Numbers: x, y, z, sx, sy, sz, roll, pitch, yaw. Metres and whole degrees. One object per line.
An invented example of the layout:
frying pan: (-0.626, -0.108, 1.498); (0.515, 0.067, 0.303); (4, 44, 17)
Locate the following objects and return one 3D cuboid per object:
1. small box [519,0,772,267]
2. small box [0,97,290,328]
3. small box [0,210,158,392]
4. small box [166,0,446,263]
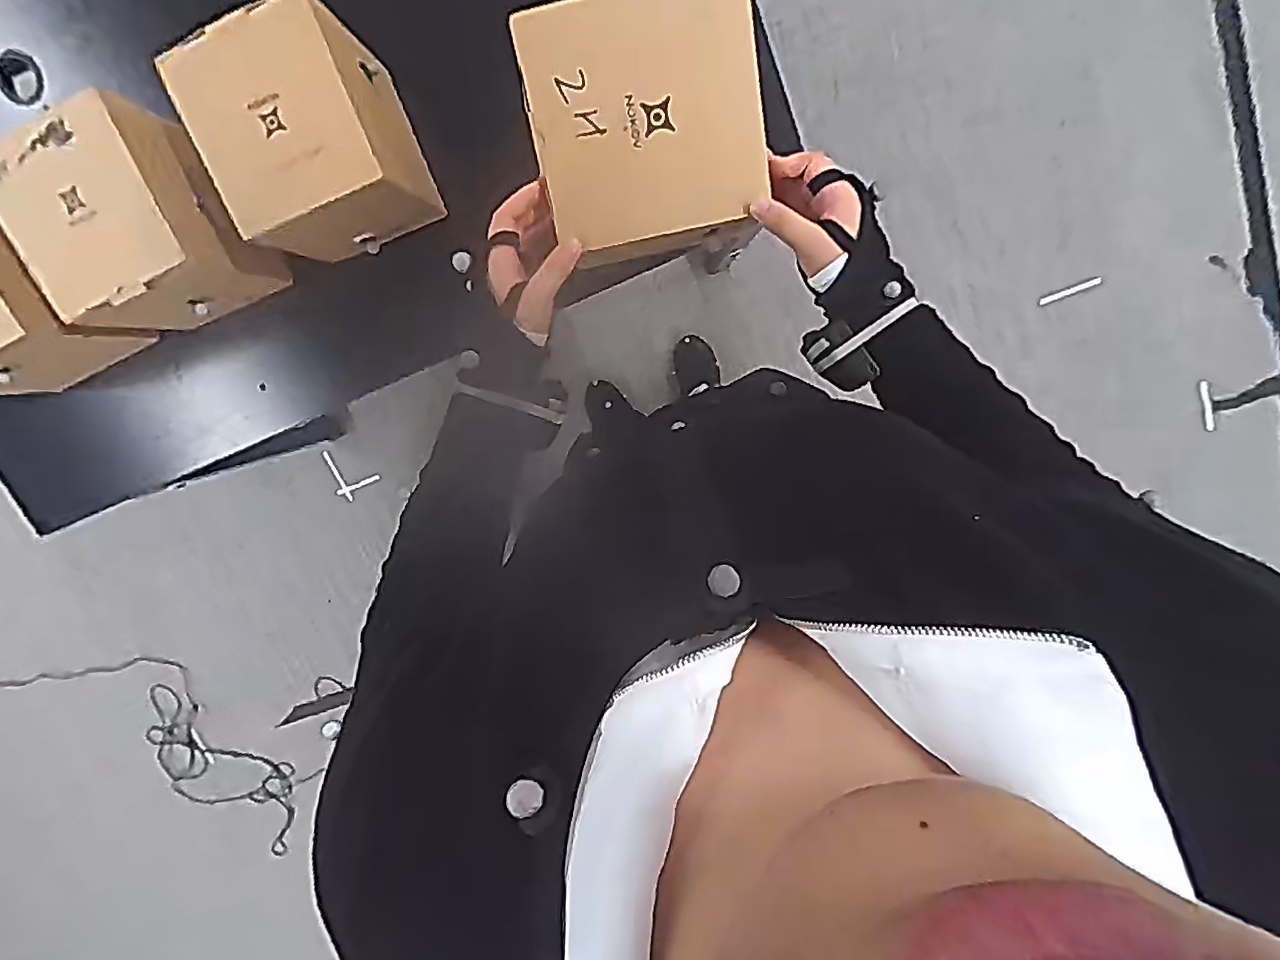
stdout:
small box: (0.008, -0.299, 0.493); (0.179, 0.176, 0.168); (-10, 108, 4)
small box: (-0.562, -0.290, 0.631); (0.168, 0.176, 0.179); (-21, 102, 7)
small box: (-0.761, -0.211, 0.655); (0.179, 0.176, 0.168); (-24, 102, 6)
small box: (-0.352, -0.369, 0.609); (0.168, 0.176, 0.179); (-20, 103, 7)
